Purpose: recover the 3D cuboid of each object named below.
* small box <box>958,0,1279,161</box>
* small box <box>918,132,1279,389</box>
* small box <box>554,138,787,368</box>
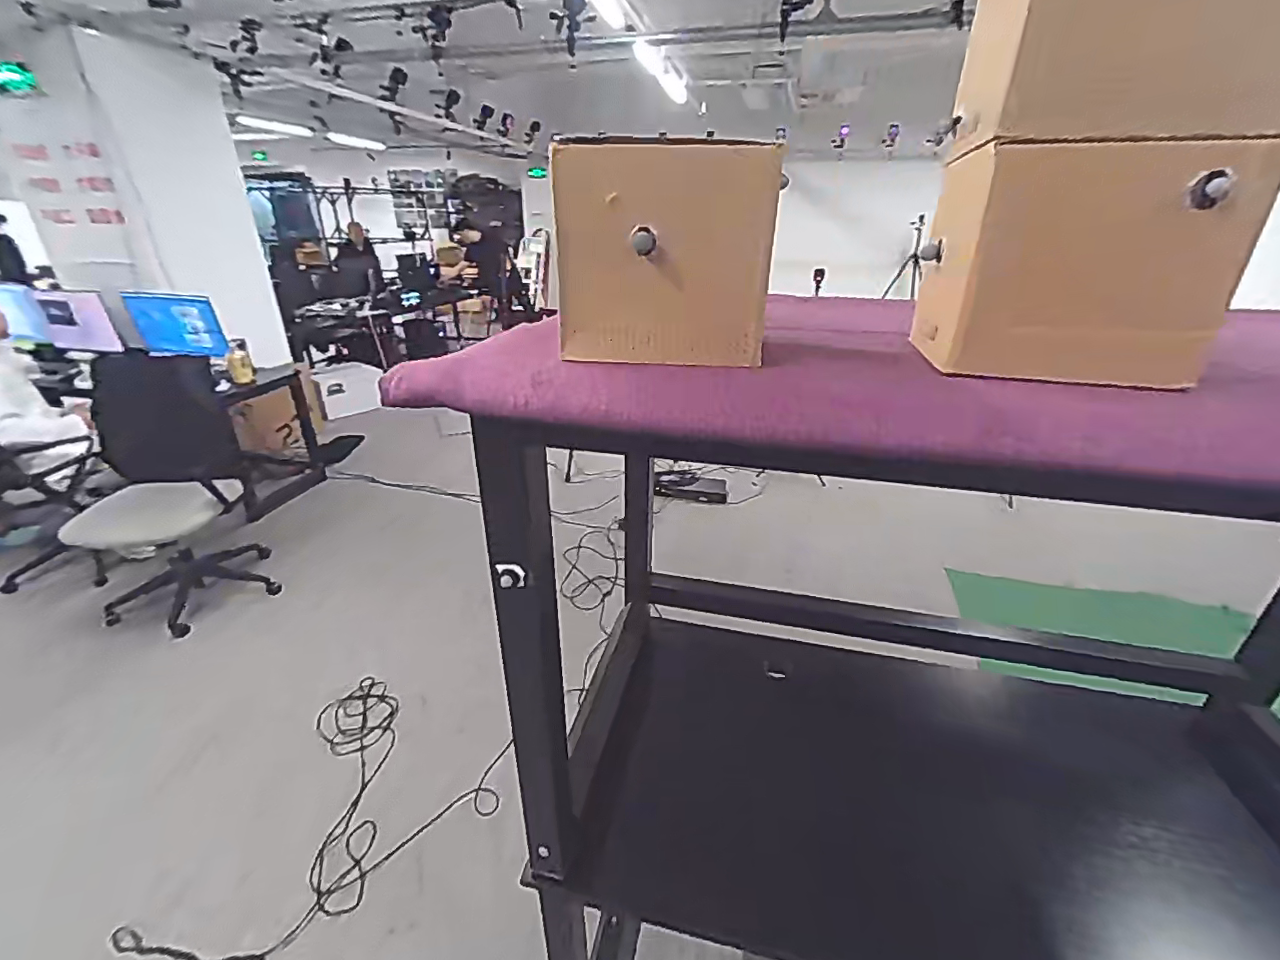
[{"bbox_3d":[0.357,-0.330,0.396,0.179,0.176,0.168,8,25,13],"label":"small box"},{"bbox_3d":[0.353,-0.179,0.459,0.179,0.176,0.168,7,25,13],"label":"small box"},{"bbox_3d":[0.029,-0.204,0.500,0.179,0.176,0.168,2,27,4],"label":"small box"}]
